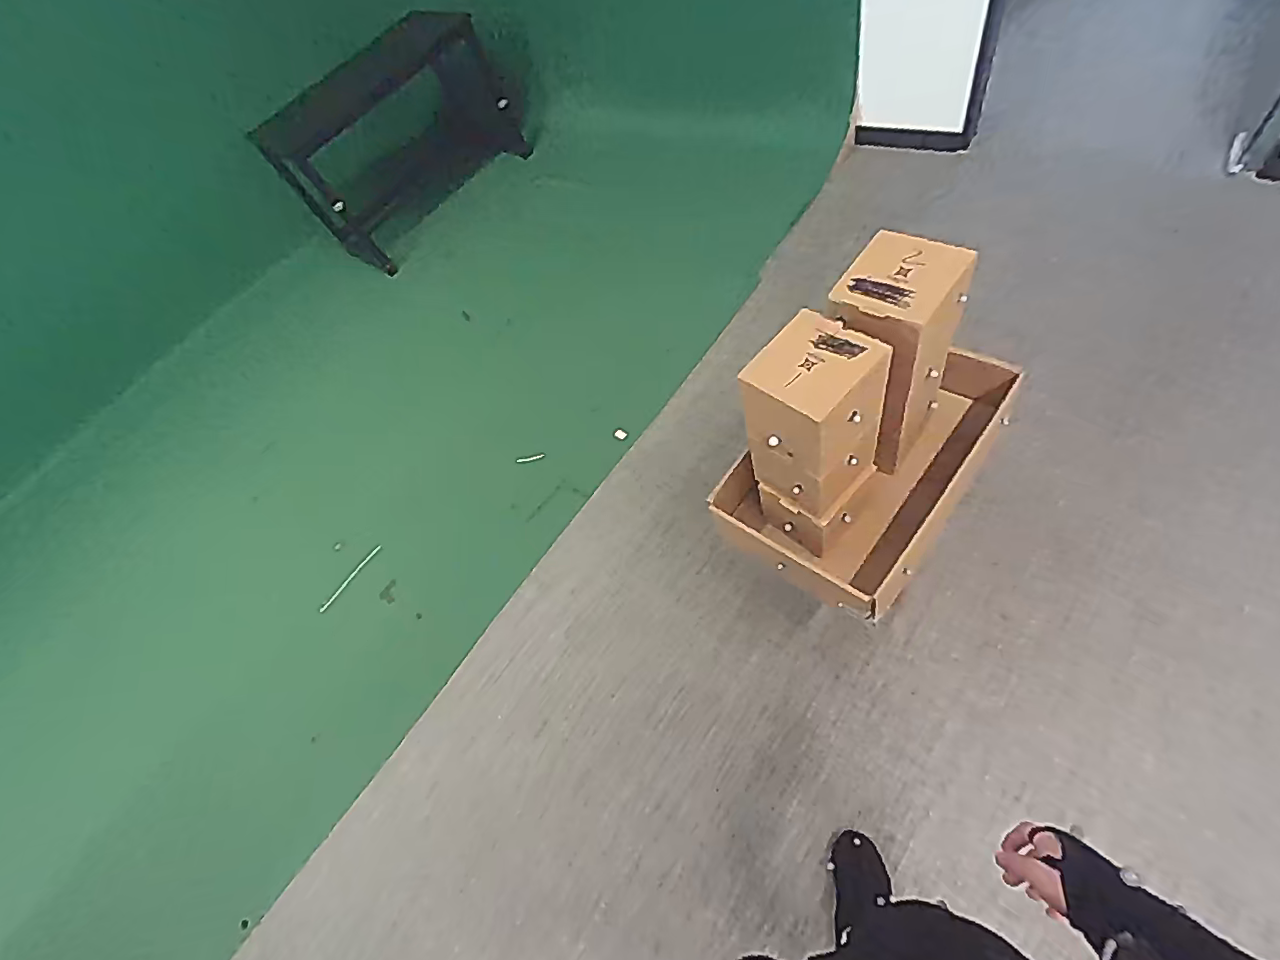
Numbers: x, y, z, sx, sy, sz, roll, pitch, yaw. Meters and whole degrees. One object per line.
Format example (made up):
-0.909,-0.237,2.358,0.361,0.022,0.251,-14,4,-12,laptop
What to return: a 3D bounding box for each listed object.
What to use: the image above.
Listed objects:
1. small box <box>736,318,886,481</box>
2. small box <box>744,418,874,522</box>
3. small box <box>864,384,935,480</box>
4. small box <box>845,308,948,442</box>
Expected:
0.286,-0.133,0.922,0.179,0.176,0.168,-44,57,-11,small box
0.329,-0.049,1.056,0.179,0.176,0.168,-44,57,-12,small box
0.540,-0.134,1.238,0.168,0.176,0.179,31,75,31,small box
0.491,-0.210,1.105,0.168,0.176,0.179,31,76,30,small box
